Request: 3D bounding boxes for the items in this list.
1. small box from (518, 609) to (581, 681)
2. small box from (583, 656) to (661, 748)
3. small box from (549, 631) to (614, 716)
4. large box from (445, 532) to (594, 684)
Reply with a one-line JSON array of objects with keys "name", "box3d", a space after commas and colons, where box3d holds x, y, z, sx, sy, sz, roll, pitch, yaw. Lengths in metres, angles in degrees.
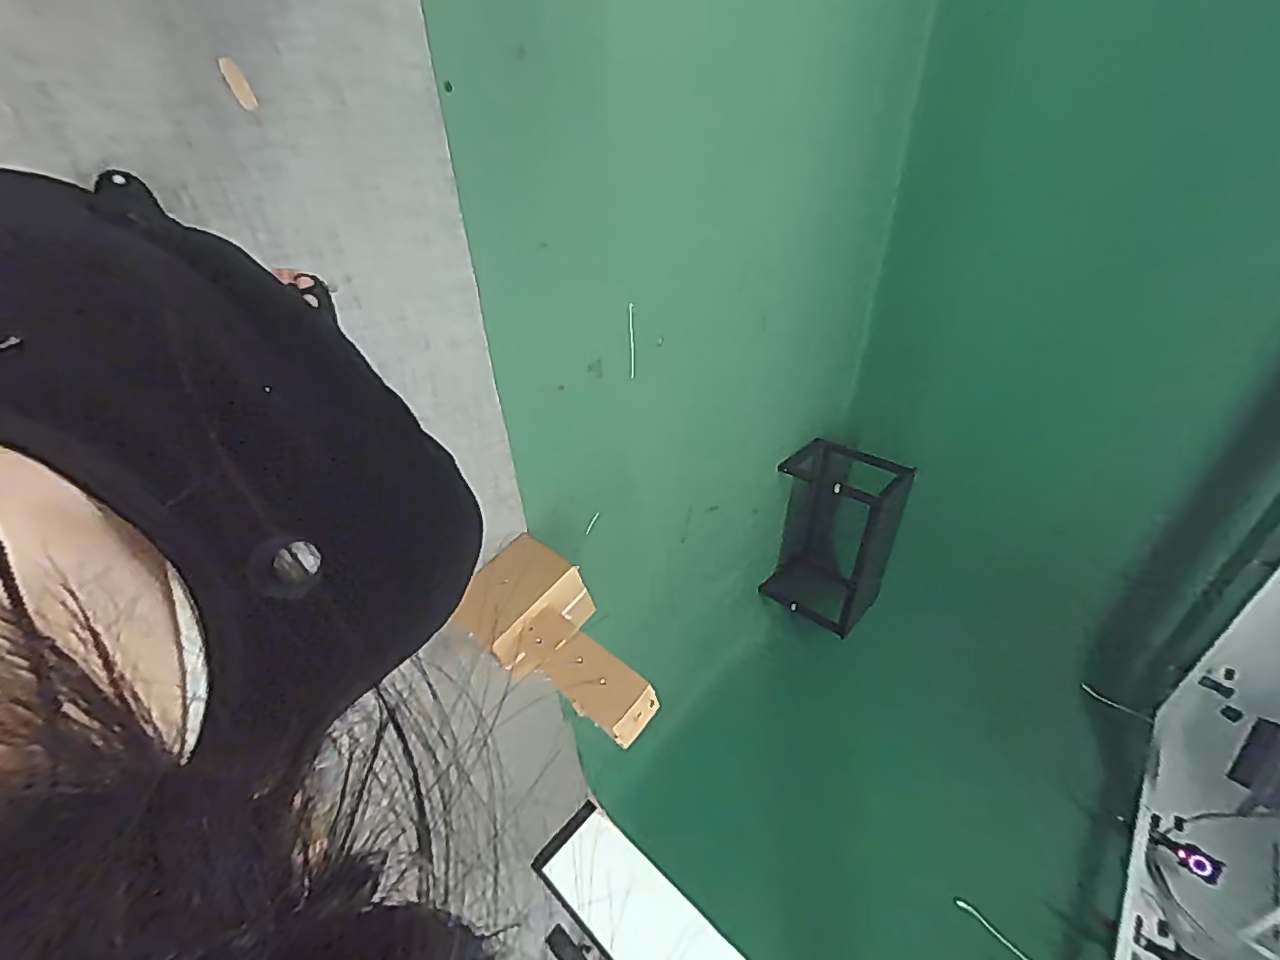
[{"name": "small box", "box3d": [-0.304, 0.584, 1.911, 0.168, 0.176, 0.179, -43, 139, -27]}, {"name": "small box", "box3d": [-0.062, 0.704, 1.723, 0.179, 0.176, 0.168, -43, 139, -26]}, {"name": "small box", "box3d": [-0.185, 0.646, 1.816, 0.179, 0.176, 0.168, -44, 140, -26]}, {"name": "large box", "box3d": [-0.453, 0.482, 2.080, 0.408, 0.320, 0.320, -45, 141, -27]}]
